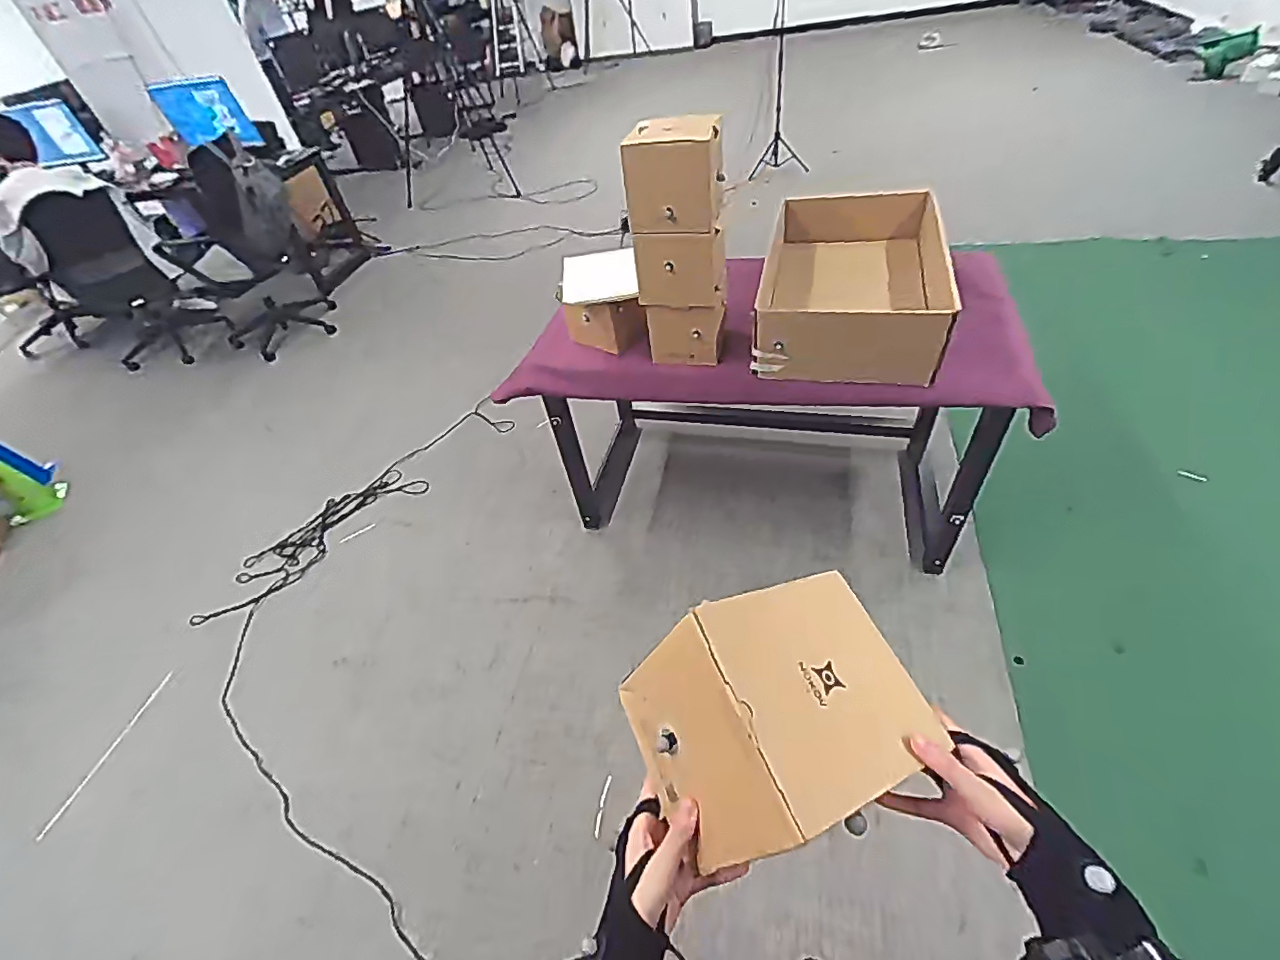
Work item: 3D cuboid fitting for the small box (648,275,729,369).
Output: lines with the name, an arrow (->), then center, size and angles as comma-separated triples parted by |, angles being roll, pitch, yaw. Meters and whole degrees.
small box -> 0.129, -0.395, 1.354 | 0.168, 0.176, 0.179 | 7, 47, 16

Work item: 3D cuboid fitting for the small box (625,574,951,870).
small box -> 0.113, 0.206, 0.474 | 0.179, 0.176, 0.168 | -6, 53, -32

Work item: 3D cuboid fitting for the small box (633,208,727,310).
small box -> 0.099, -0.502, 1.233 | 0.179, 0.176, 0.168 | 6, 47, 16

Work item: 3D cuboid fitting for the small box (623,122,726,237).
small box -> 0.078, -0.616, 1.117 | 0.179, 0.176, 0.168 | 7, 46, 15
